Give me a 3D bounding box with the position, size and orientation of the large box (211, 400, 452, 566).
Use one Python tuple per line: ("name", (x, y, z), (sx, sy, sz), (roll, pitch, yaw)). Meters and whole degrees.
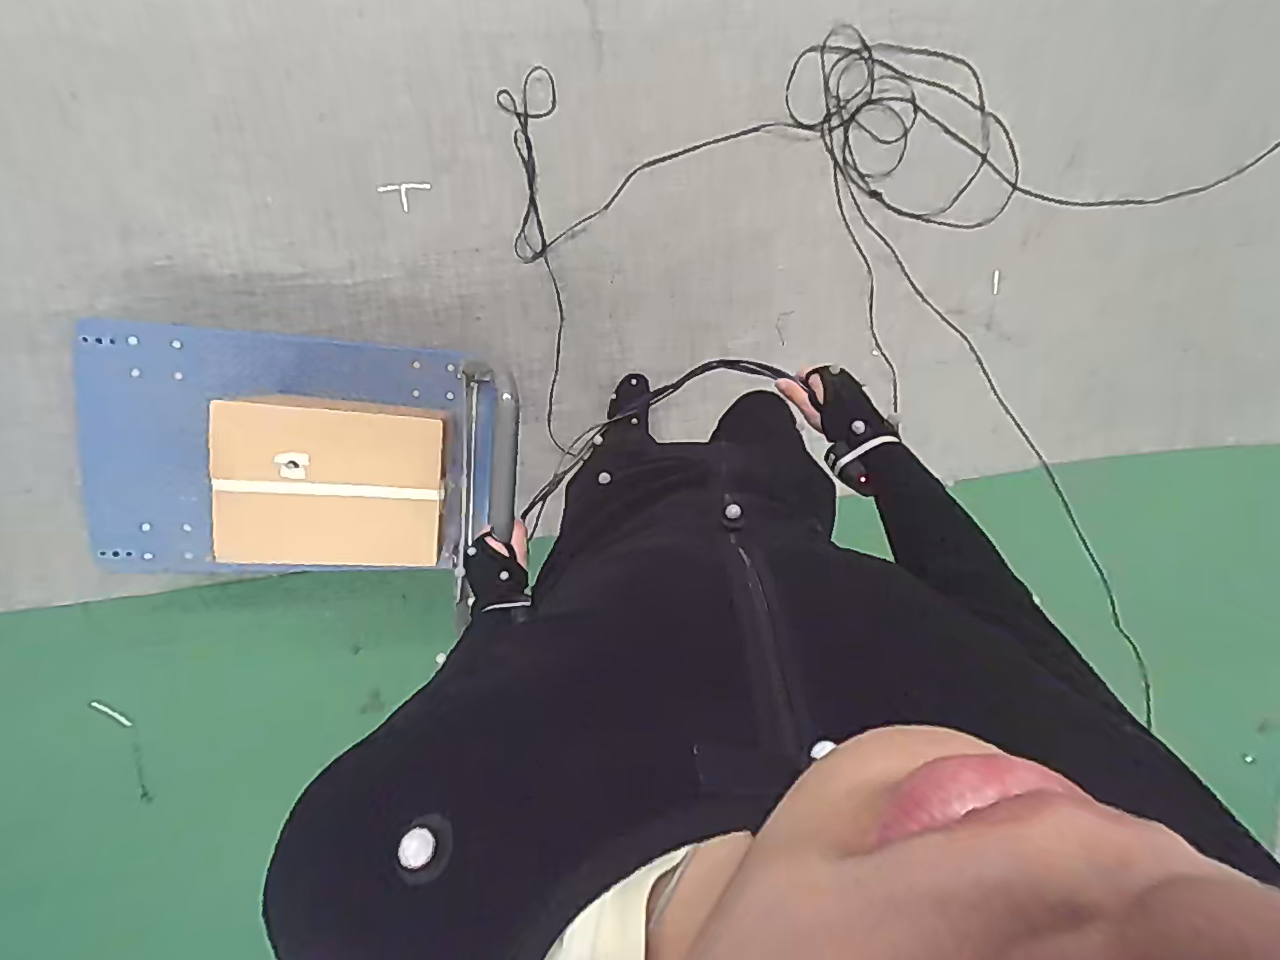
("large box", (-0.642, -0.006, 1.203), (0.408, 0.320, 0.320), (3, 98, -15))
